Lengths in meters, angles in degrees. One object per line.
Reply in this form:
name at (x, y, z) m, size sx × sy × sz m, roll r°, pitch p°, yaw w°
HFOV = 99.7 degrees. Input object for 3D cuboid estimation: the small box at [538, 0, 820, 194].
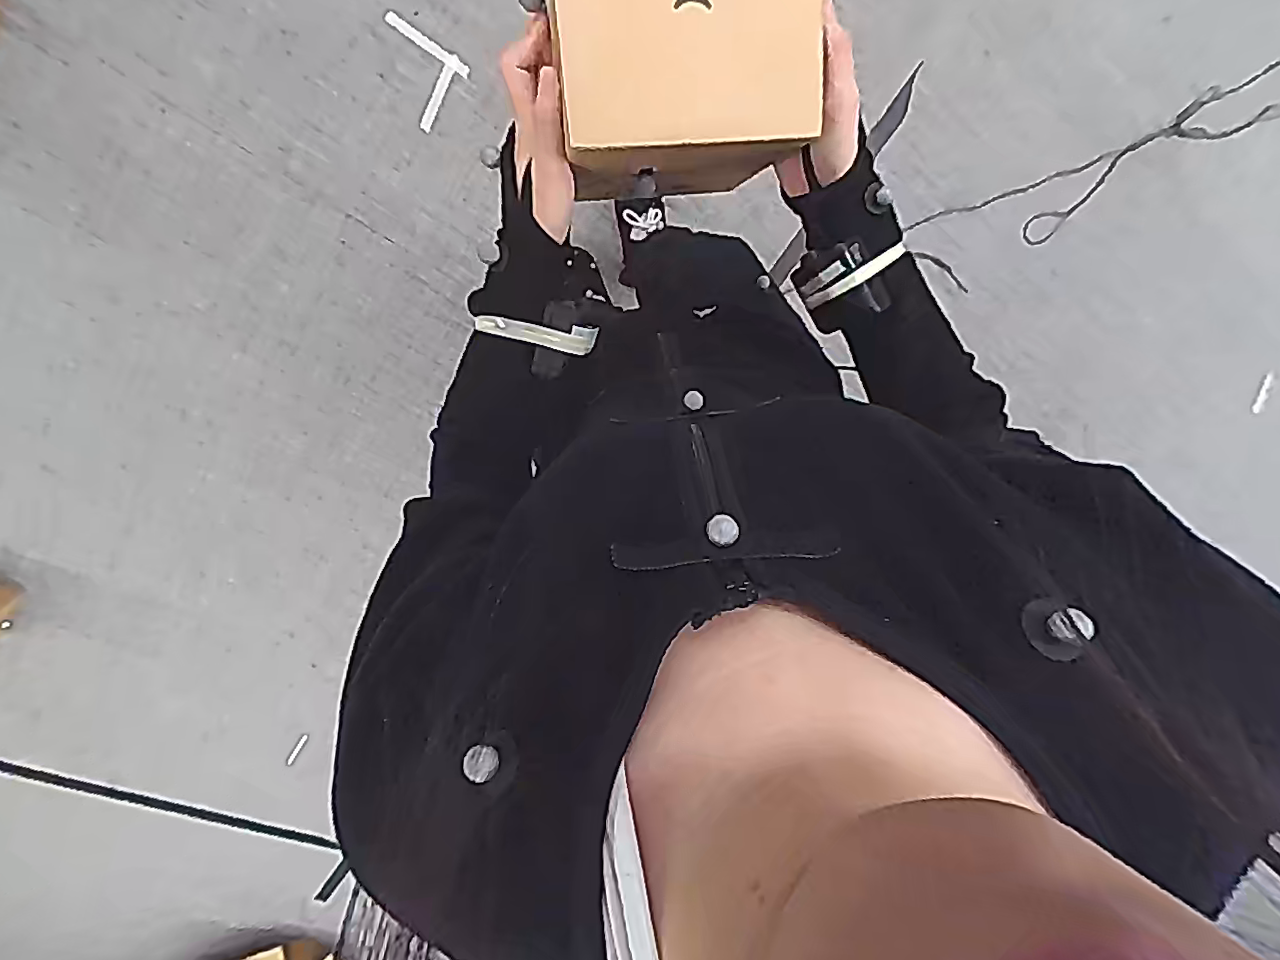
small box at (0.016, -0.318, 0.390) m, size 0.168 × 0.176 × 0.179 m, roll -8°, pitch 107°, yaw -8°
